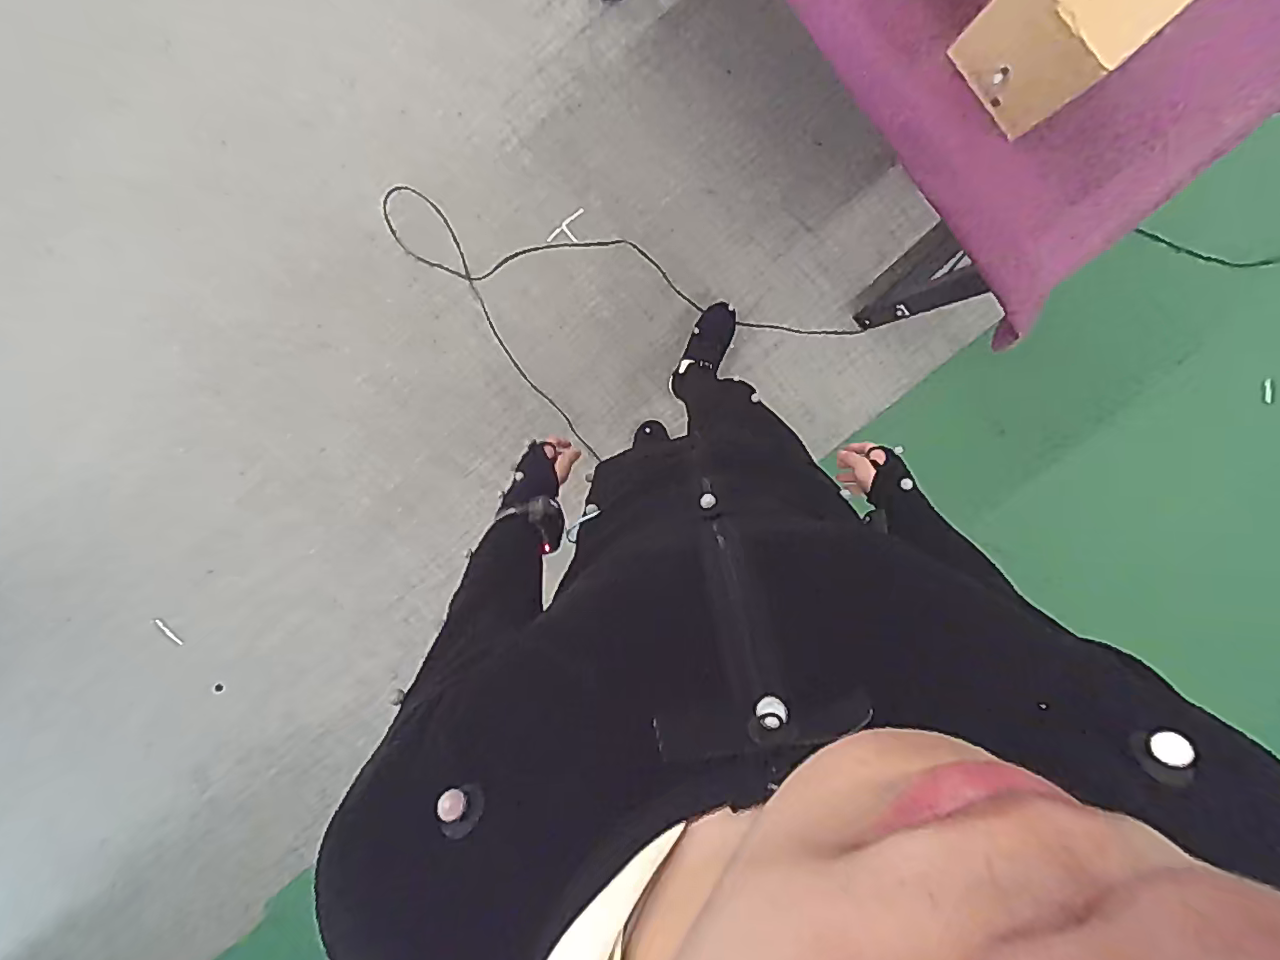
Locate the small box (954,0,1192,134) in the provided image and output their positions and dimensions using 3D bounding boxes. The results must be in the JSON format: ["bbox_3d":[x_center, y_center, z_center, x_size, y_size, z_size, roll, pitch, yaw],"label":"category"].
[{"bbox_3d":[0.569,-0.615,0.714,0.179,0.176,0.168,-40,96,5],"label":"small box"}]
